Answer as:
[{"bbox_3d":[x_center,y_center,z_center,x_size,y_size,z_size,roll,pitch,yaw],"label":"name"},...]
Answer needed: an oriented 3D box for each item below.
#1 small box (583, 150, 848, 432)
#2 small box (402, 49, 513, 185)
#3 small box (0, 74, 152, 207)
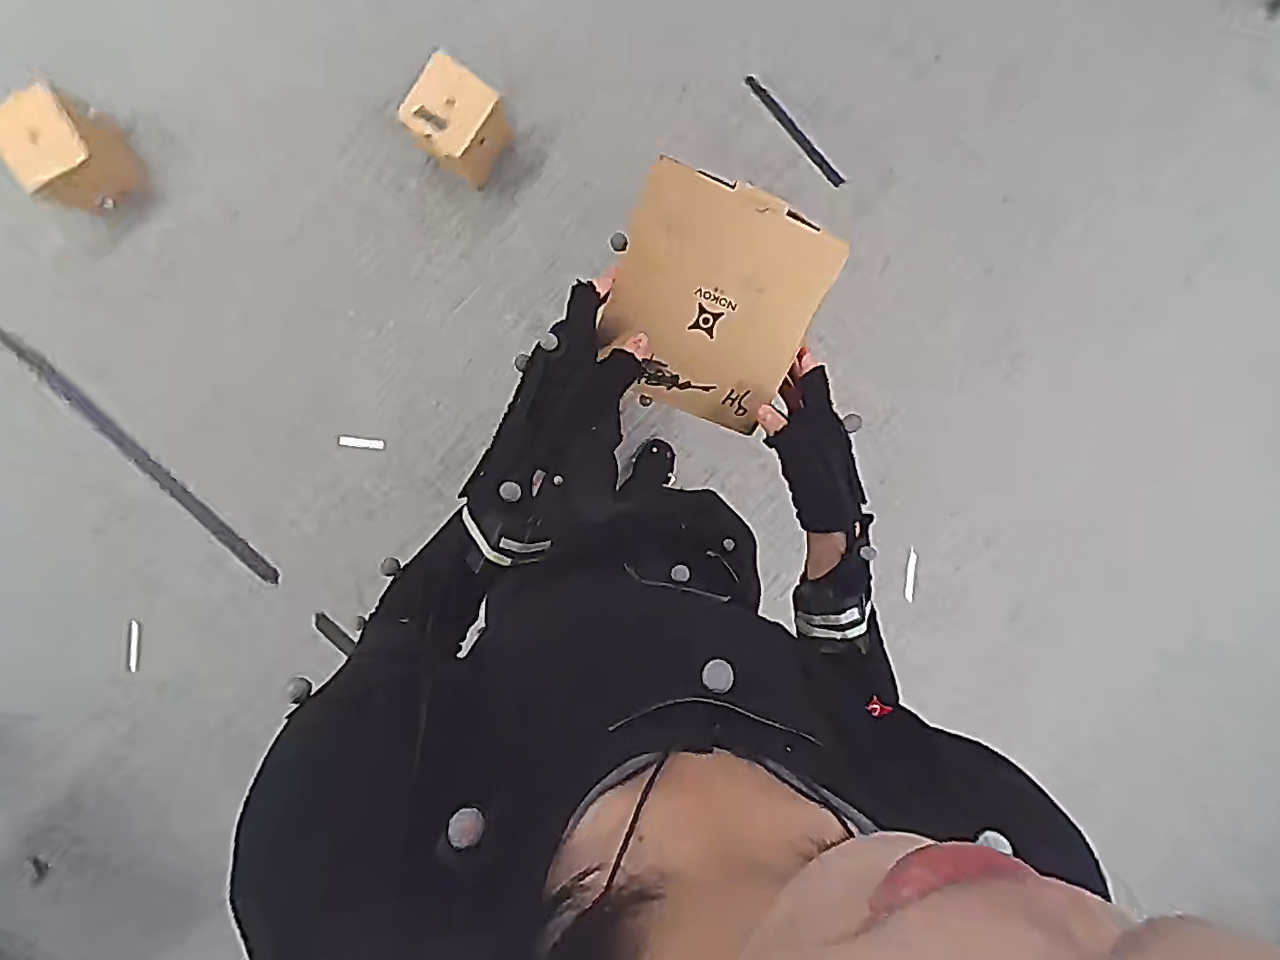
[{"bbox_3d":[0.054,-0.176,0.508,0.168,0.176,0.179,19,115,-11],"label":"small box"},{"bbox_3d":[-0.423,-0.850,1.289,0.168,0.176,0.179,35,94,-6],"label":"small box"},{"bbox_3d":[-1.310,-0.773,1.252,0.168,0.176,0.179,-28,99,2],"label":"small box"}]
